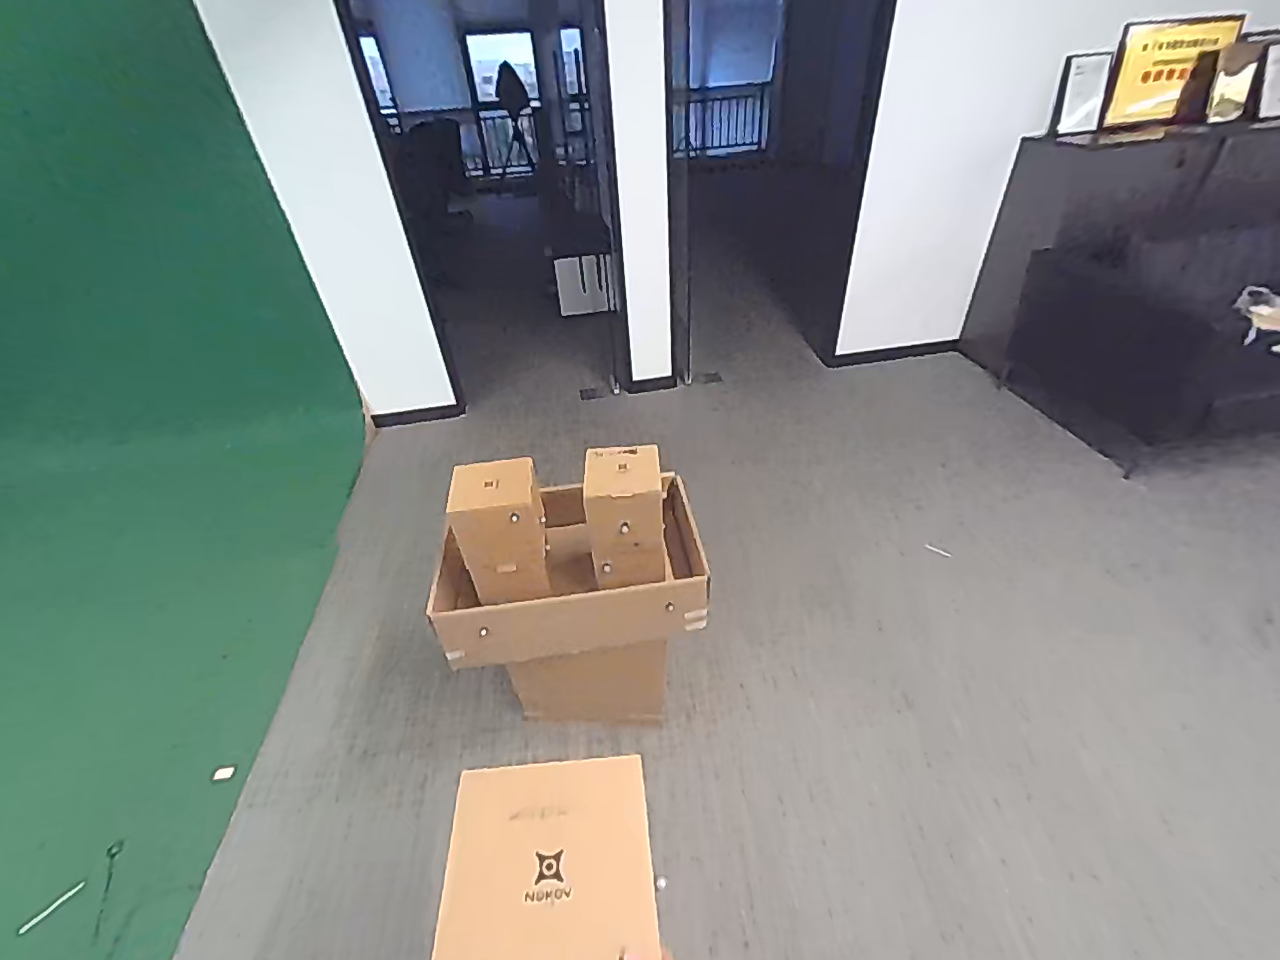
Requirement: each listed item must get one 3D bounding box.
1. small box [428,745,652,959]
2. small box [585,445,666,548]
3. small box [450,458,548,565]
[{"bbox_3d":[-0.076,0.370,0.487,0.168,0.176,0.179,-2,37,-4],"label":"small box"},{"bbox_3d":[-0.029,0.042,1.226,0.168,0.176,0.179,-4,39,1],"label":"small box"},{"bbox_3d":[-0.310,0.074,1.218,0.179,0.176,0.168,-7,38,-5],"label":"small box"}]
